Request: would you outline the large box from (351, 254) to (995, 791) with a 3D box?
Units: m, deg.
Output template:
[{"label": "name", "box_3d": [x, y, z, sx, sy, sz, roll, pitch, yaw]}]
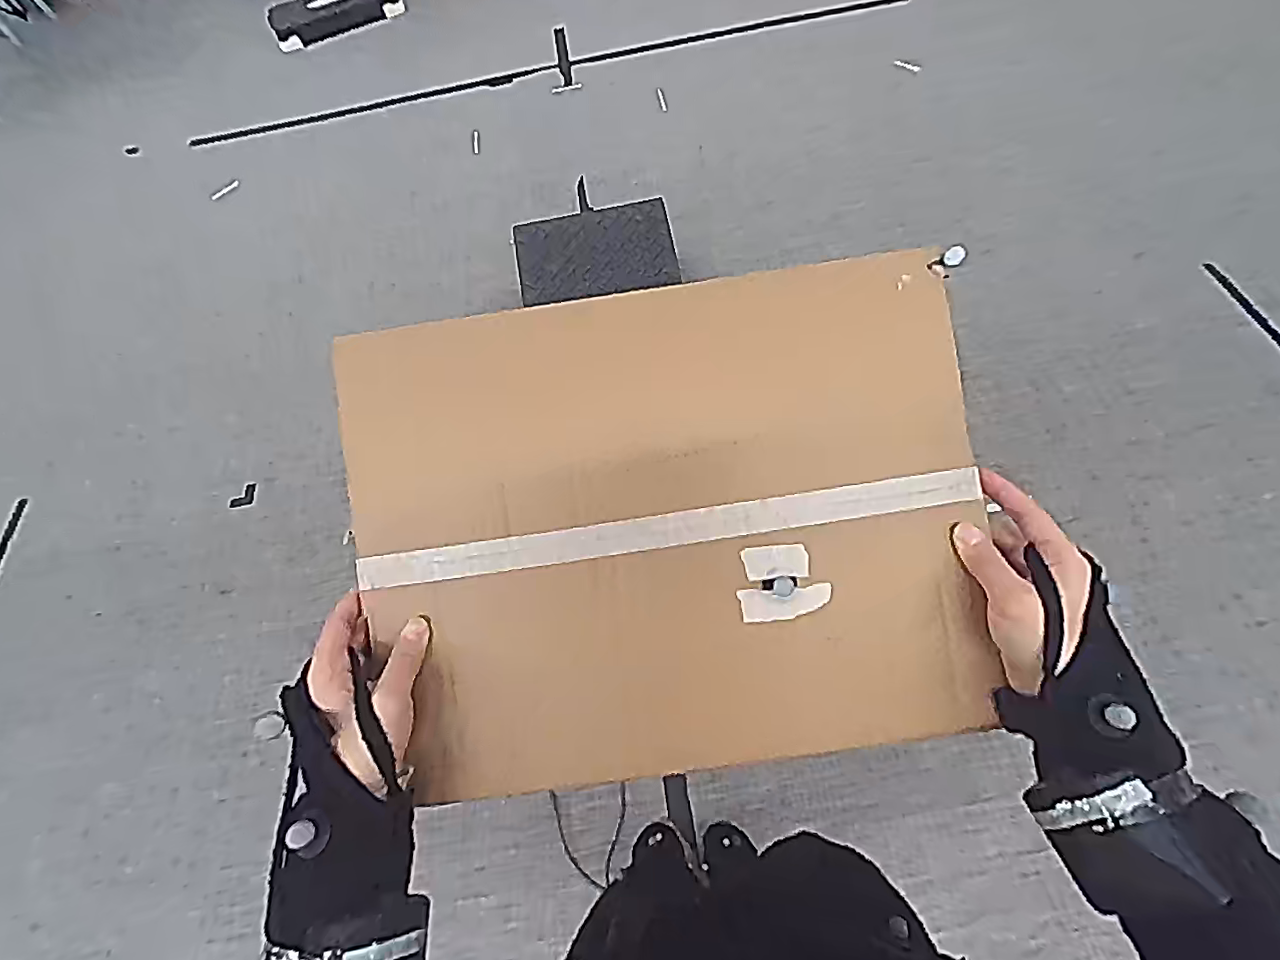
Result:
[{"label": "large box", "box_3d": [0.019, 0.033, 0.513, 0.408, 0.320, 0.320, -9, 89, 1]}]
